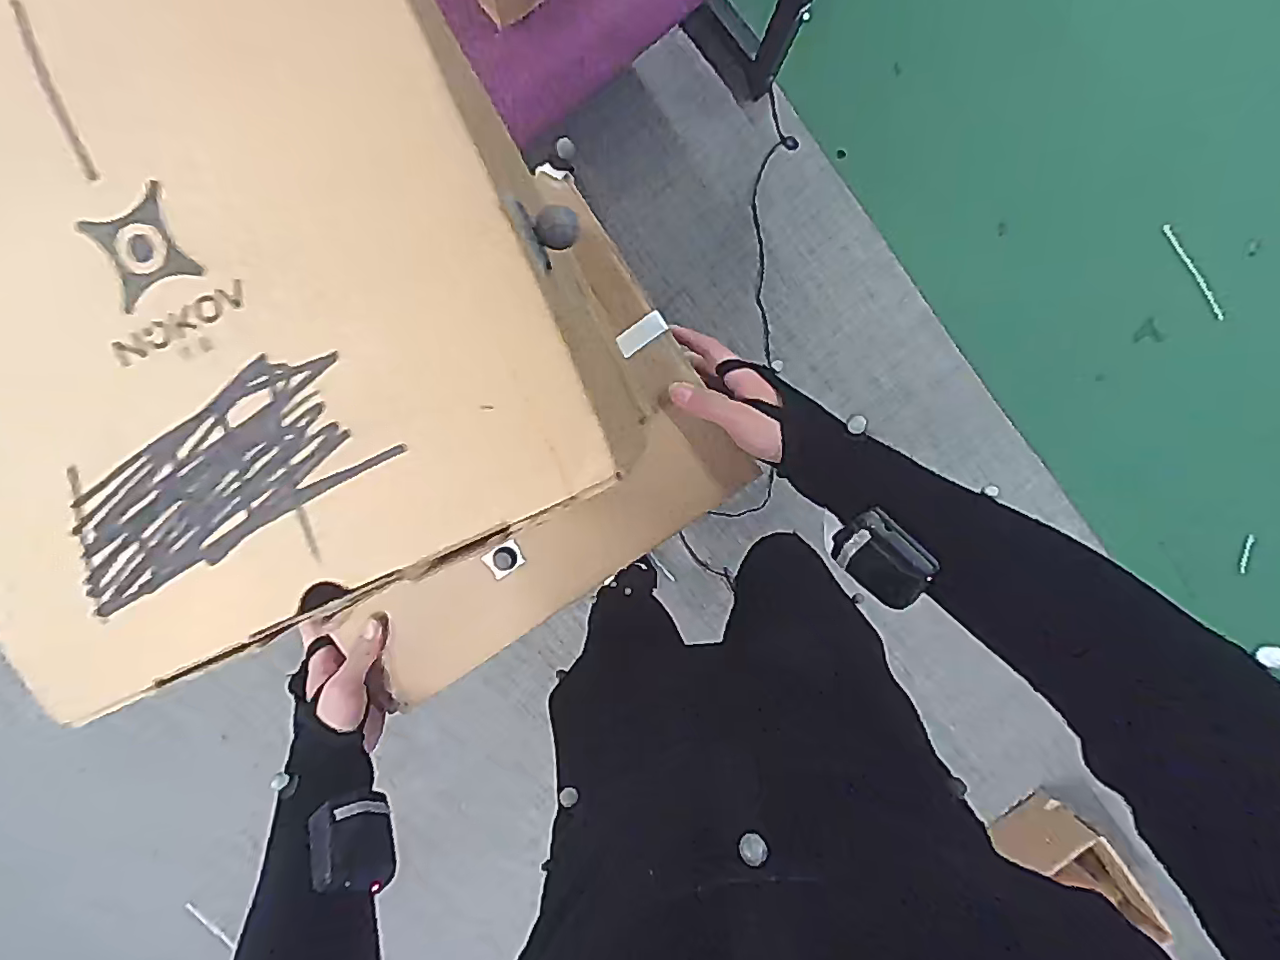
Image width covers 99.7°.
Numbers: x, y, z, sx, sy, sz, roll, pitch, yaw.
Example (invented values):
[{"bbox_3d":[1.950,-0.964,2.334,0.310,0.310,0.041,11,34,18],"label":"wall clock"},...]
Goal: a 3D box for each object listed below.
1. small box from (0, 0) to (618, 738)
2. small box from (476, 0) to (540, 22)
[{"bbox_3d":[-0.118,-0.053,0.199,0.168,0.176,0.179,-24,95,5],"label":"small box"},{"bbox_3d":[-0.150,-0.638,0.547,0.168,0.176,0.179,-38,95,0],"label":"small box"}]
